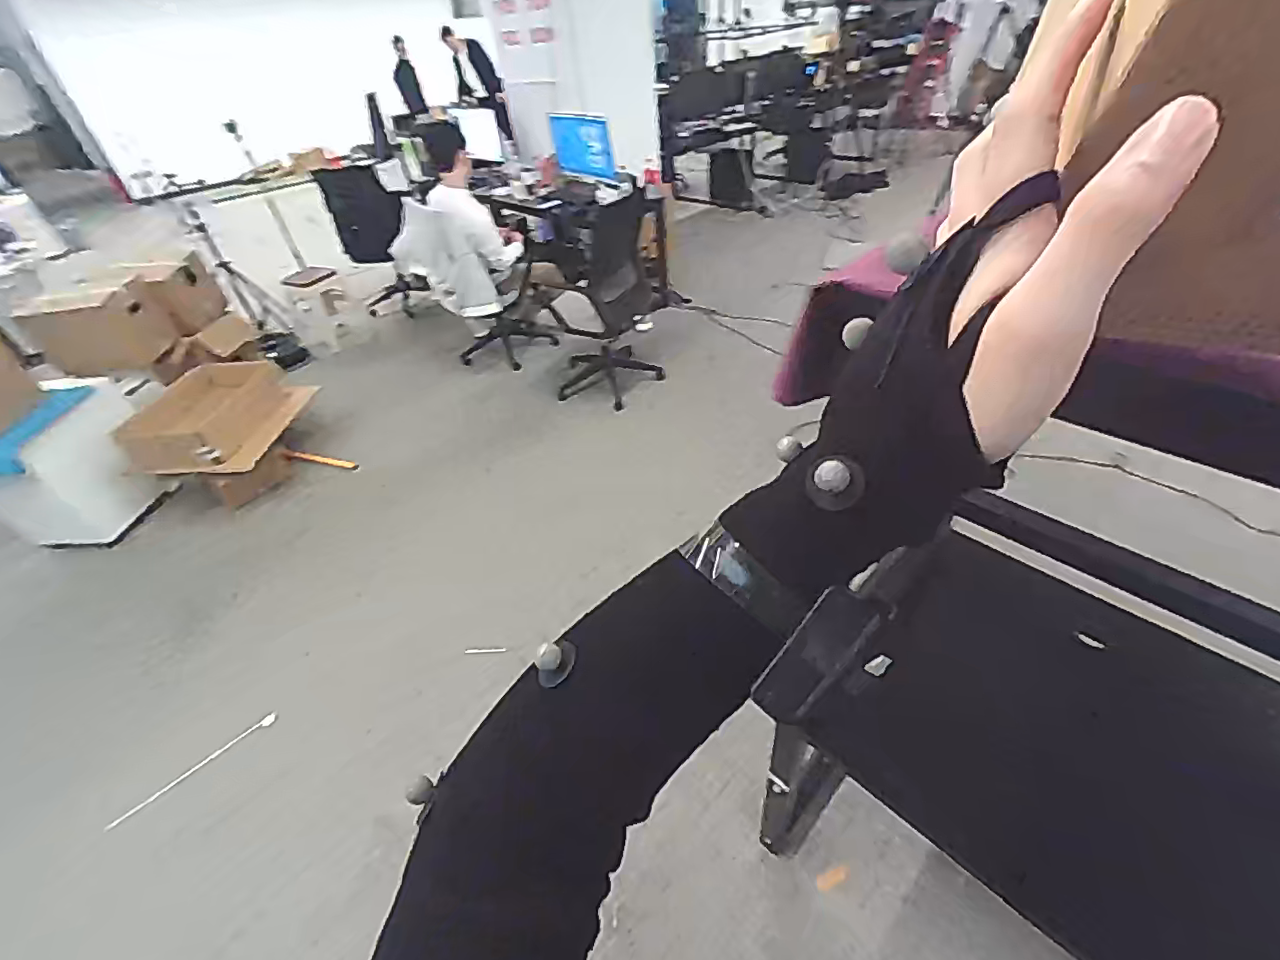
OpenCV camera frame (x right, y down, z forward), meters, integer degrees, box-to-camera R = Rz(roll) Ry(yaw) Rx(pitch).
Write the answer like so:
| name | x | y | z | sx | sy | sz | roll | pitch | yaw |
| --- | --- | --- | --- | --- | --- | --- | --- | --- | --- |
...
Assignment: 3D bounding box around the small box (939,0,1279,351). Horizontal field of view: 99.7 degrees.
| name | x | y | z | sx | sy | sz | roll | pitch | yaw |
| --- | --- | --- | --- | --- | --- | --- | --- | --- | --- |
| small box | 0.247 | -0.169 | 0.218 | 0.179 | 0.176 | 0.168 | 11 | 76 | 19 |
